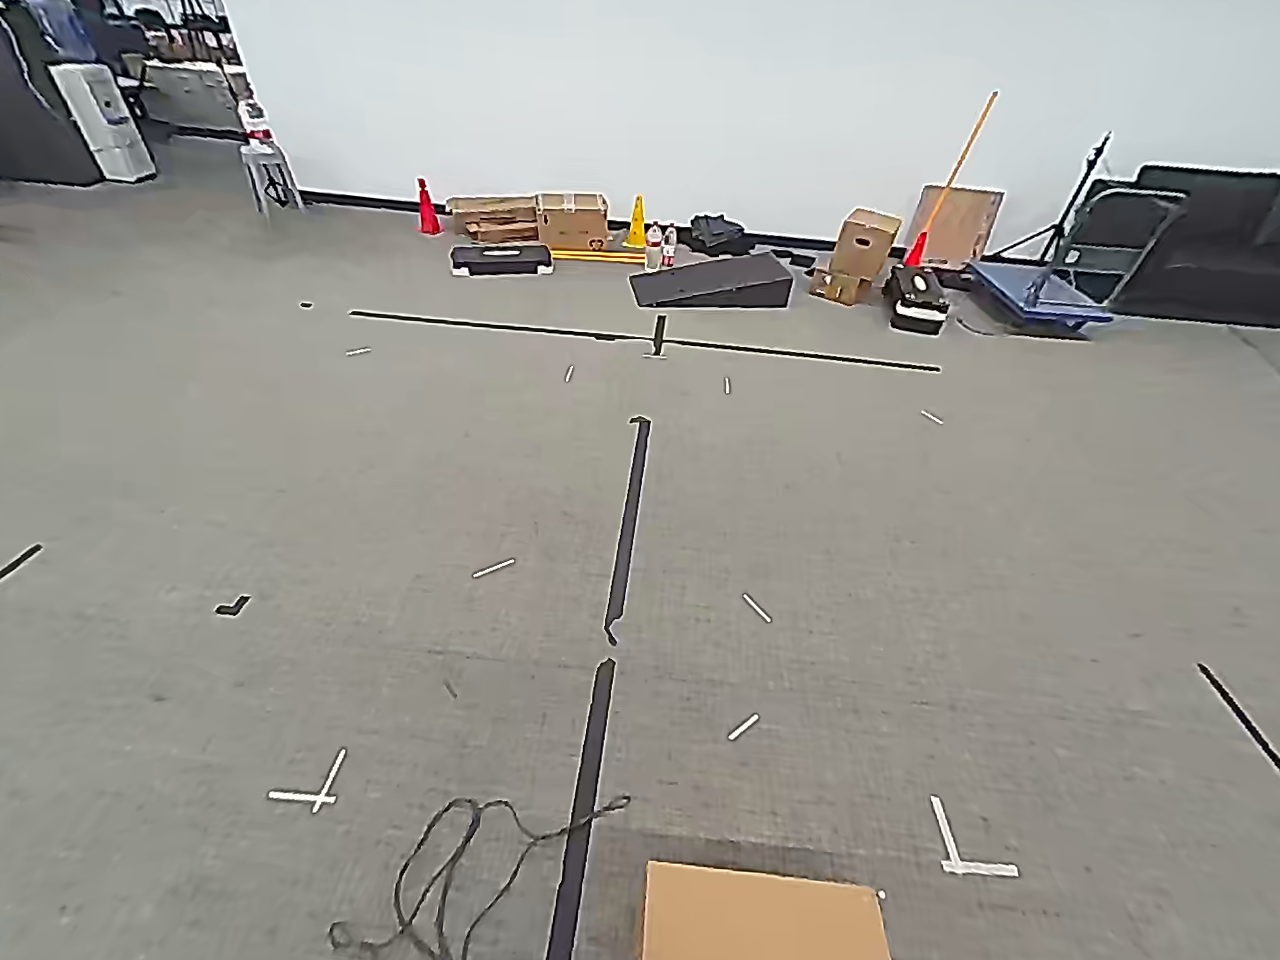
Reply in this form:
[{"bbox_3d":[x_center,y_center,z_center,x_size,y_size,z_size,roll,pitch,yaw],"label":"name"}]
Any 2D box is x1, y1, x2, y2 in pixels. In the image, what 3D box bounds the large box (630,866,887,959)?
[{"bbox_3d":[0.184,0.905,0.924,0.408,0.320,0.320,7,41,0],"label":"large box"}]
